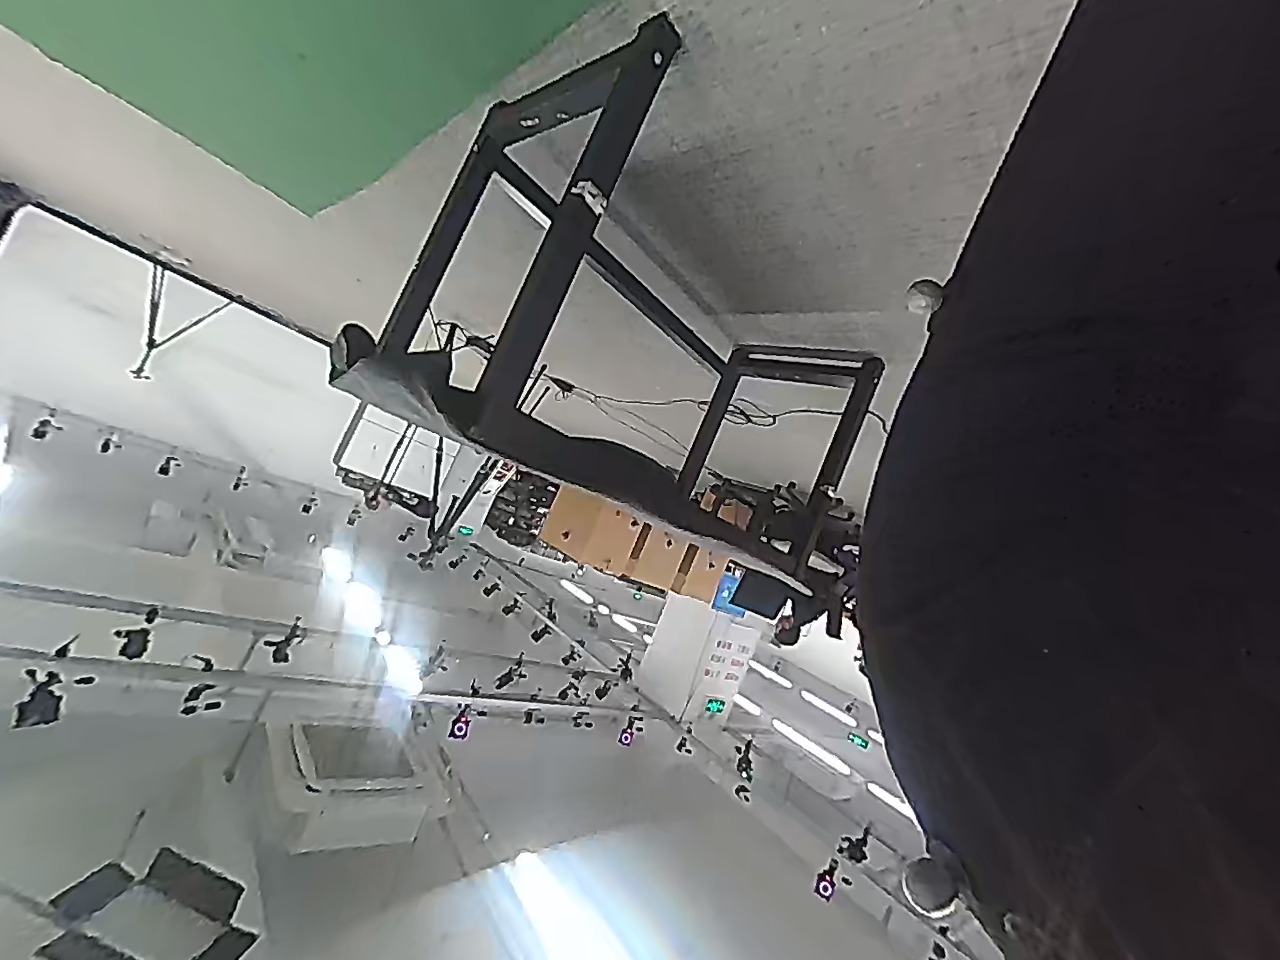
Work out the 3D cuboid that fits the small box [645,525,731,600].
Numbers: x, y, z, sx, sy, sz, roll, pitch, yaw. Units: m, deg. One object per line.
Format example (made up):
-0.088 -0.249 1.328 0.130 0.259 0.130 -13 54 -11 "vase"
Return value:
0.152 0.251 1.692 0.179 0.176 0.168 19 174 47 "small box"
